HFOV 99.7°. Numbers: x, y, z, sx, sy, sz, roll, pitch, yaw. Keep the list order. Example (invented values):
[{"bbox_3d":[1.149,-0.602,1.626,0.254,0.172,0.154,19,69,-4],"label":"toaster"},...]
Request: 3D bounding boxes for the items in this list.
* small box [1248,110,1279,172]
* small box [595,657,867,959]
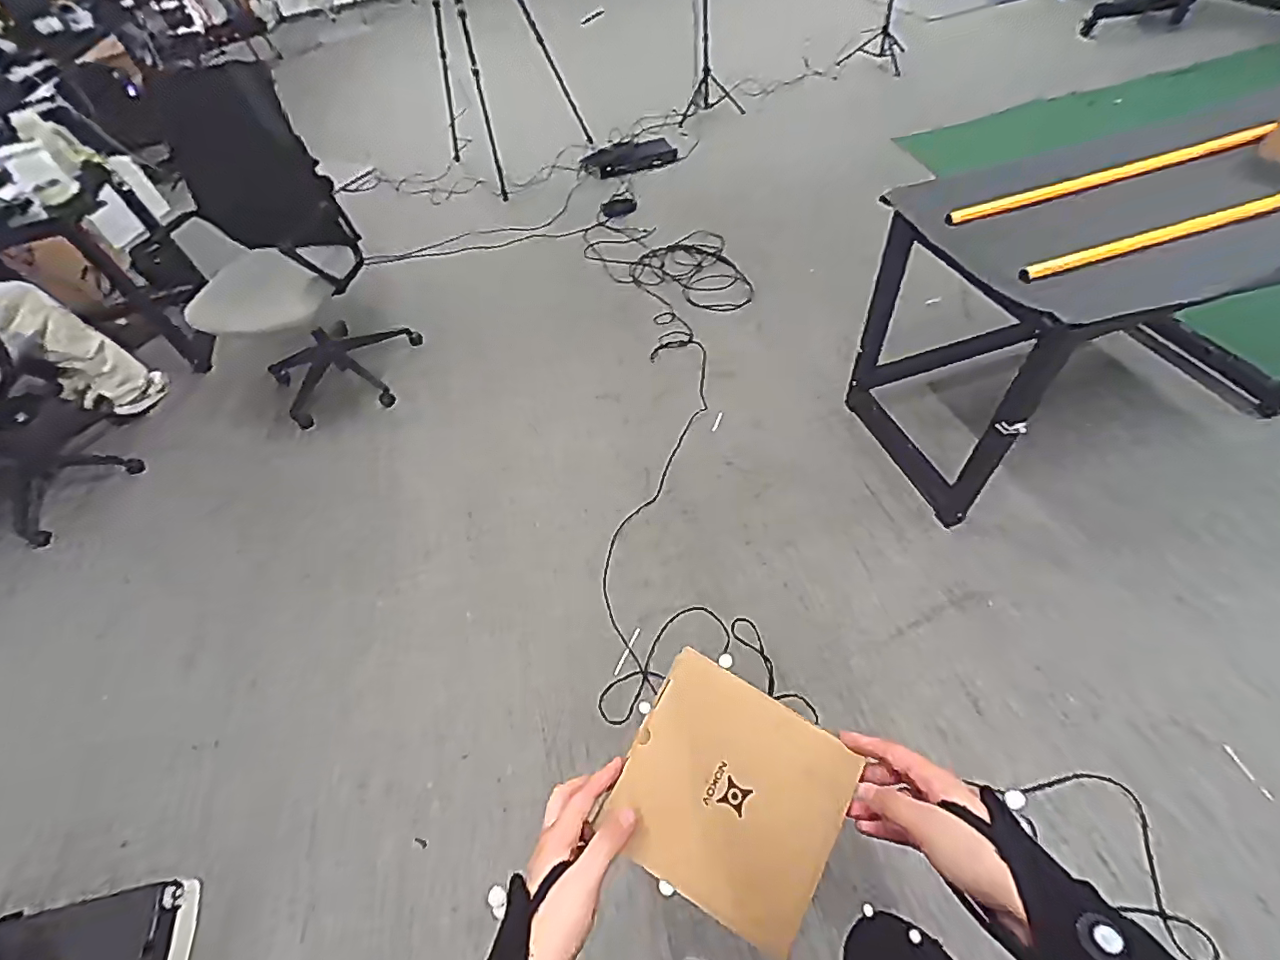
[{"bbox_3d":[1.554,-0.785,1.198,0.168,0.176,0.179,-15,52,-4],"label":"small box"},{"bbox_3d":[0.081,0.290,0.521,0.179,0.176,0.168,27,73,13],"label":"small box"}]
